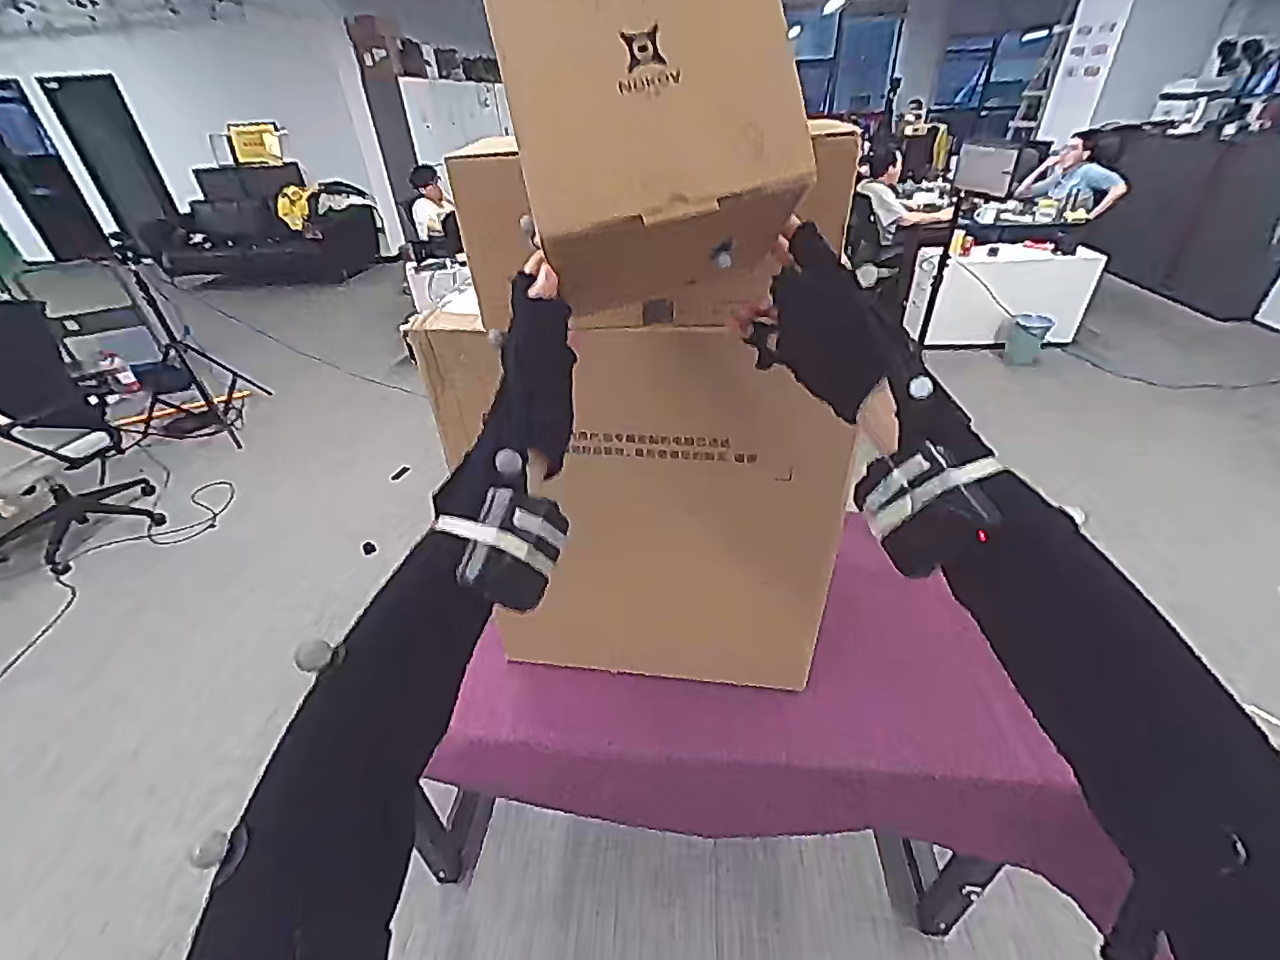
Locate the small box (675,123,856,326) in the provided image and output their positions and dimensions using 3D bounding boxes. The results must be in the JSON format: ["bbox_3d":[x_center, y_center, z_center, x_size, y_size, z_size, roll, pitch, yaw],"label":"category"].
[{"bbox_3d":[0.124,-0.277,0.589,0.168,0.176,0.179,2,37,7],"label":"small box"}]

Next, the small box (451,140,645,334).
[{"bbox_3d":[-0.082,-0.273,0.601,0.179,0.176,0.168,-2,36,3],"label":"small box"}]

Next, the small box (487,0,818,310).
[{"bbox_3d":[0.005,-0.237,0.389,0.168,0.179,0.176,-14,1,-1],"label":"small box"}]
